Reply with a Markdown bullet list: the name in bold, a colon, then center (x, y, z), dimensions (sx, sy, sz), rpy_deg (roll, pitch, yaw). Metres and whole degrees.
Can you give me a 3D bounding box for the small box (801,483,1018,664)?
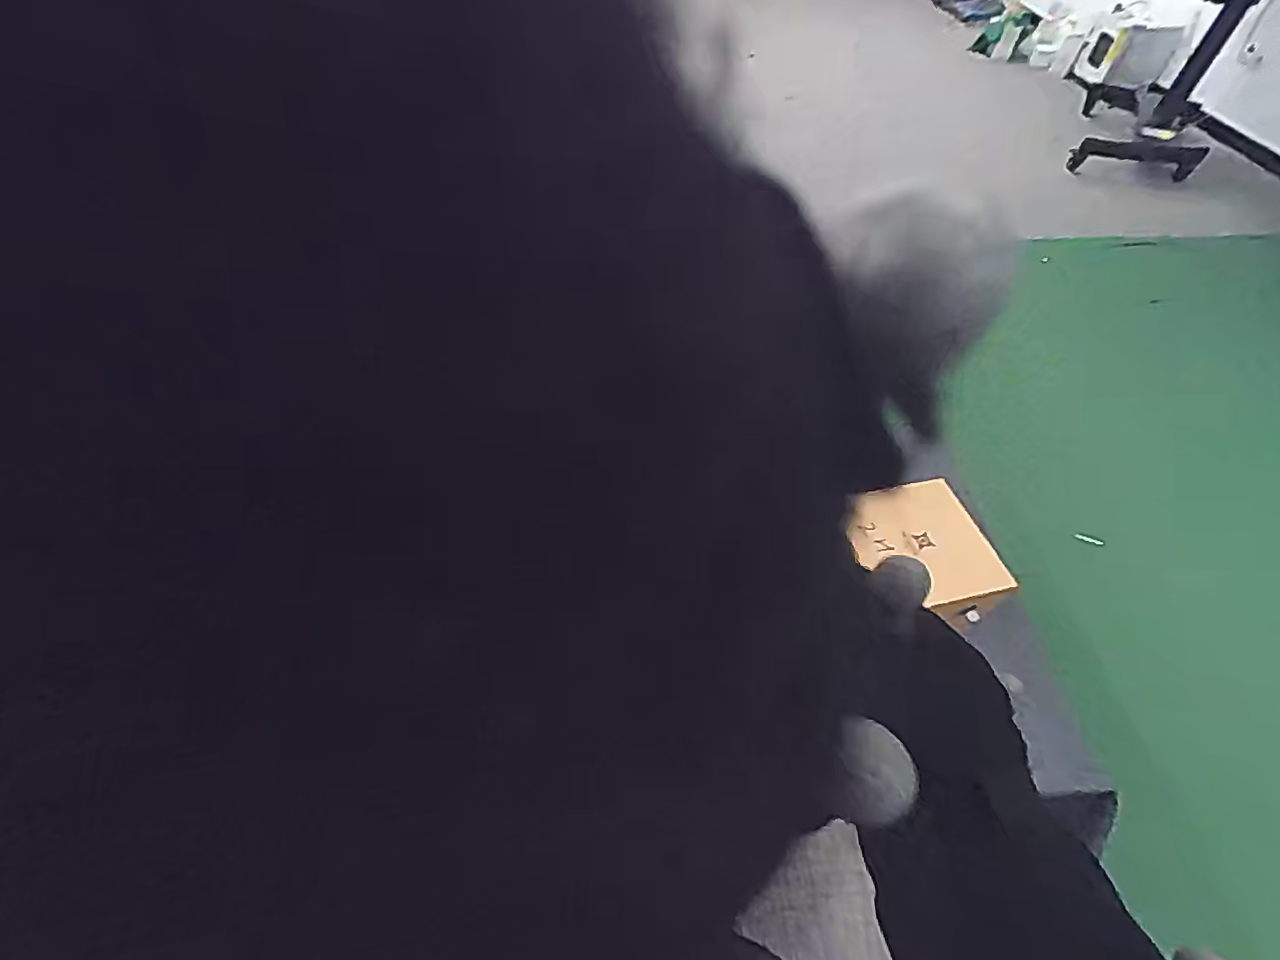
- **small box**: center (0.344, 0.129, 0.731), dimensions (0.179, 0.176, 0.168), rpy_deg (-10, 53, -7)
